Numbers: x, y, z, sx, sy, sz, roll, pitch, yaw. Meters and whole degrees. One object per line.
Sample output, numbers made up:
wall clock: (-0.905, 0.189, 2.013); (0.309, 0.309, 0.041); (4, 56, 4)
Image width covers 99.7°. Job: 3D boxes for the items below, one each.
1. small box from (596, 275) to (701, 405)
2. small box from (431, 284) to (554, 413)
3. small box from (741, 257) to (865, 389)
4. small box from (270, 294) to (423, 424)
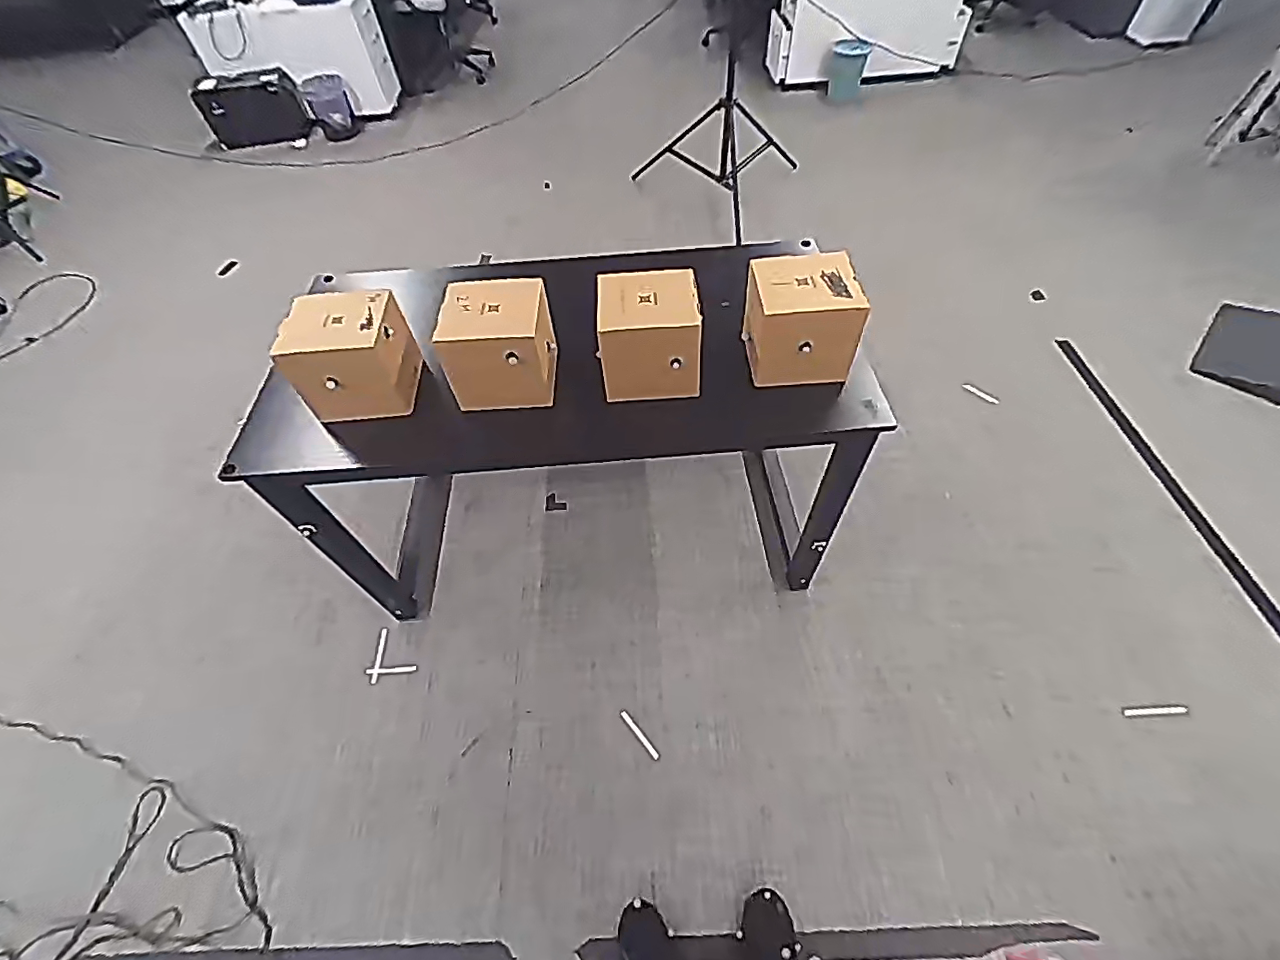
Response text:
small box: (0.012, -0.256, 1.002); (0.179, 0.176, 0.168); (-5, 52, 0)
small box: (-0.261, -0.241, 1.007); (0.179, 0.176, 0.168); (-3, 53, 1)
small box: (0.290, -0.287, 1.005); (0.179, 0.176, 0.168); (-4, 53, 3)
small box: (-0.533, -0.221, 1.009); (0.179, 0.176, 0.168); (-6, 54, -1)
